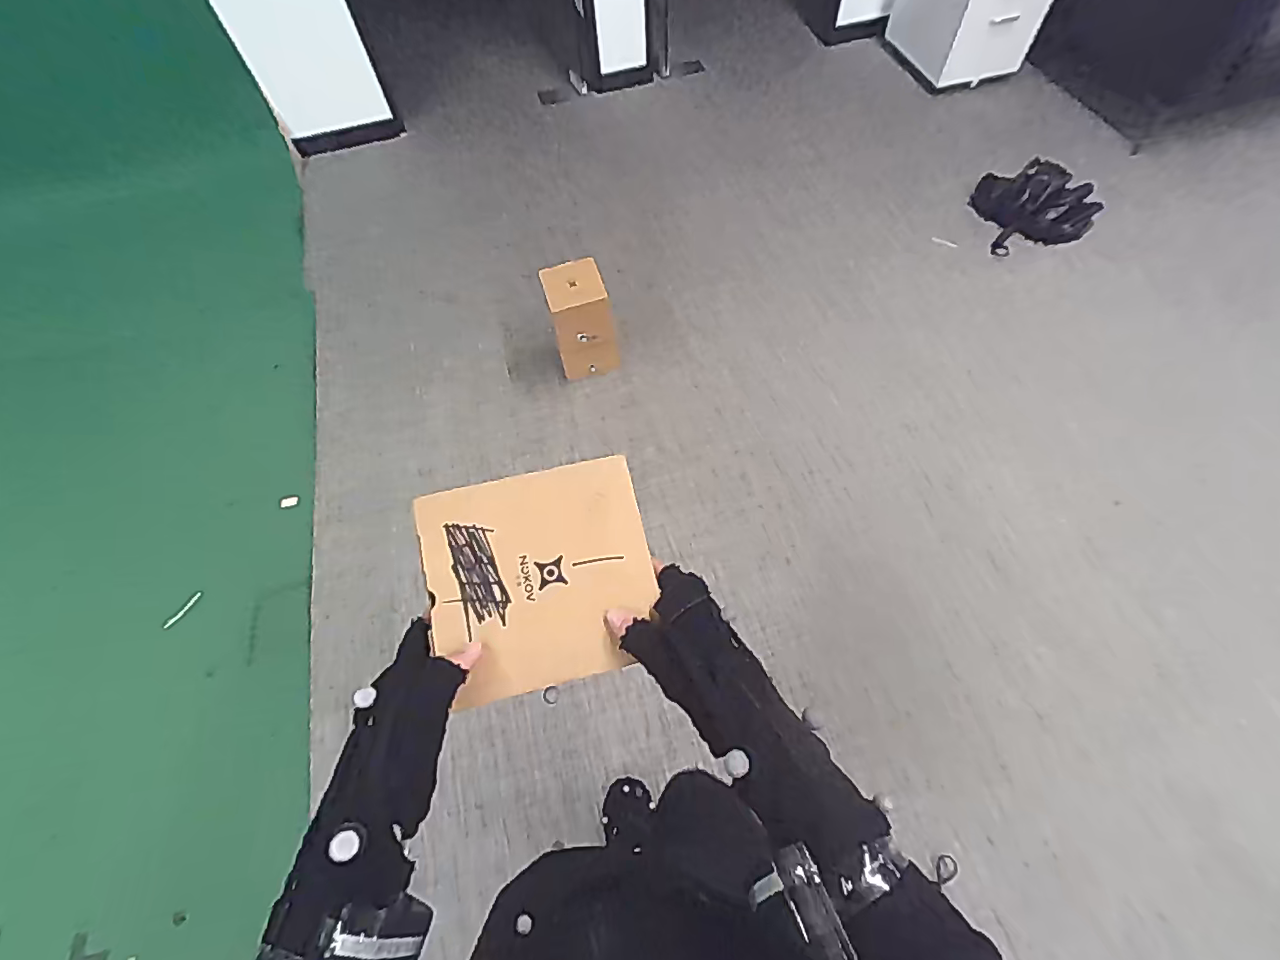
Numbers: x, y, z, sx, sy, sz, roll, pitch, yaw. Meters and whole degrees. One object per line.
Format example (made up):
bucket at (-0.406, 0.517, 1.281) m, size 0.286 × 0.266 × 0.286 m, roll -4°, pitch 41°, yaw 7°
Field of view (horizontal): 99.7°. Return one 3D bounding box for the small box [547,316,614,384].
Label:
small box at (-0.188, -0.438, 1.753) m, size 0.179 × 0.176 × 0.168 m, roll -16°, pitch 61°, yaw -6°

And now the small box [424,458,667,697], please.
small box at (-0.083, 0.097, 0.515) m, size 0.179 × 0.176 × 0.168 m, roll -12°, pitch 75°, yaw -7°

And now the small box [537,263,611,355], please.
small box at (-0.191, -0.503, 1.602) m, size 0.168 × 0.176 × 0.179 m, roll -18°, pitch 63°, yaw -5°
